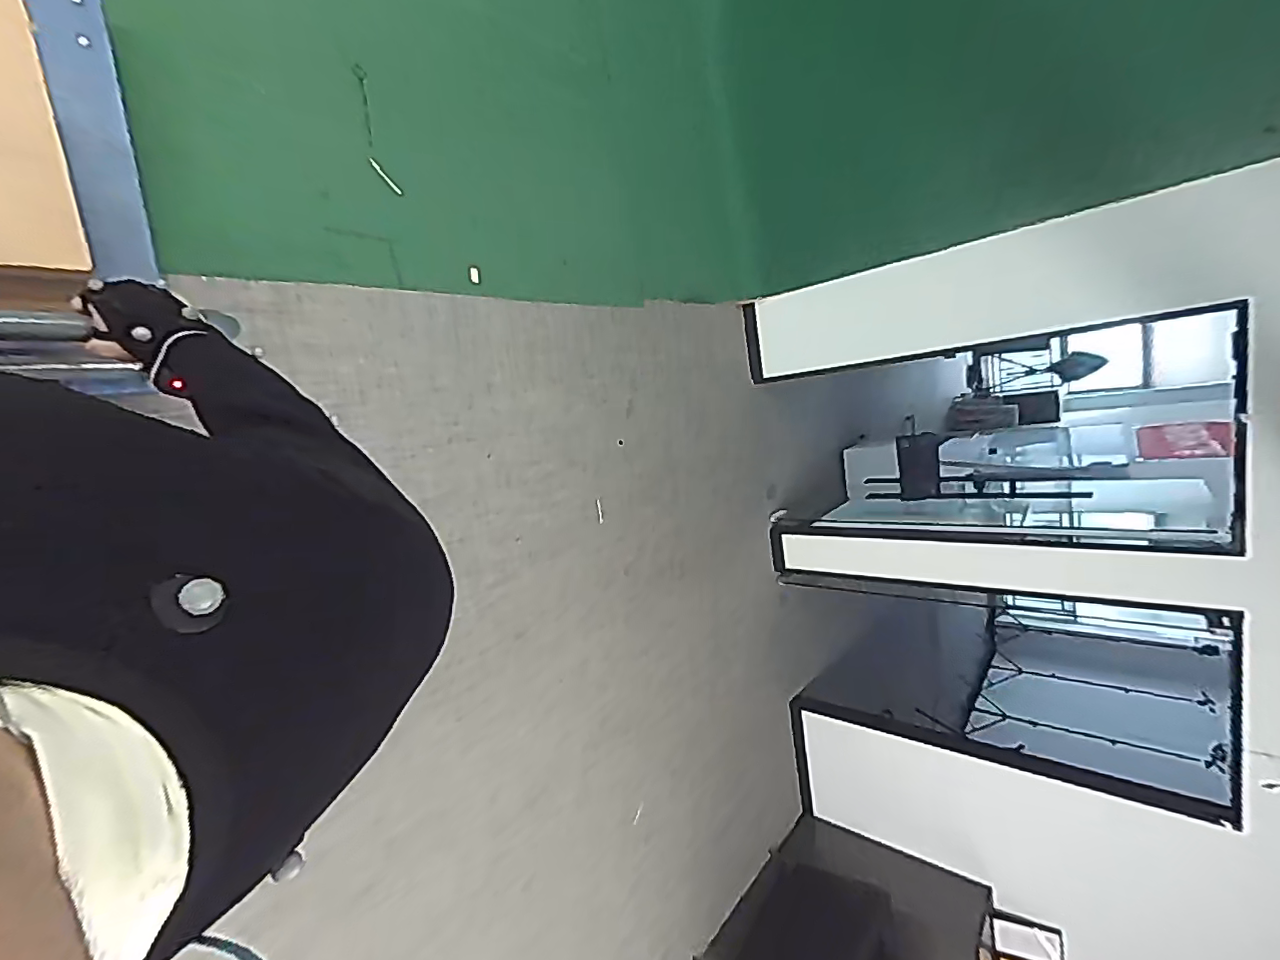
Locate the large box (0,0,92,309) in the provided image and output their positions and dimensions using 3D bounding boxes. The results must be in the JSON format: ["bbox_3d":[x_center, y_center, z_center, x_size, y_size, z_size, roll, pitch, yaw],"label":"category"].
[{"bbox_3d":[-1.111,-0.499,0.826,0.320,0.320,0.408,-16,101,-47],"label":"large box"}]
